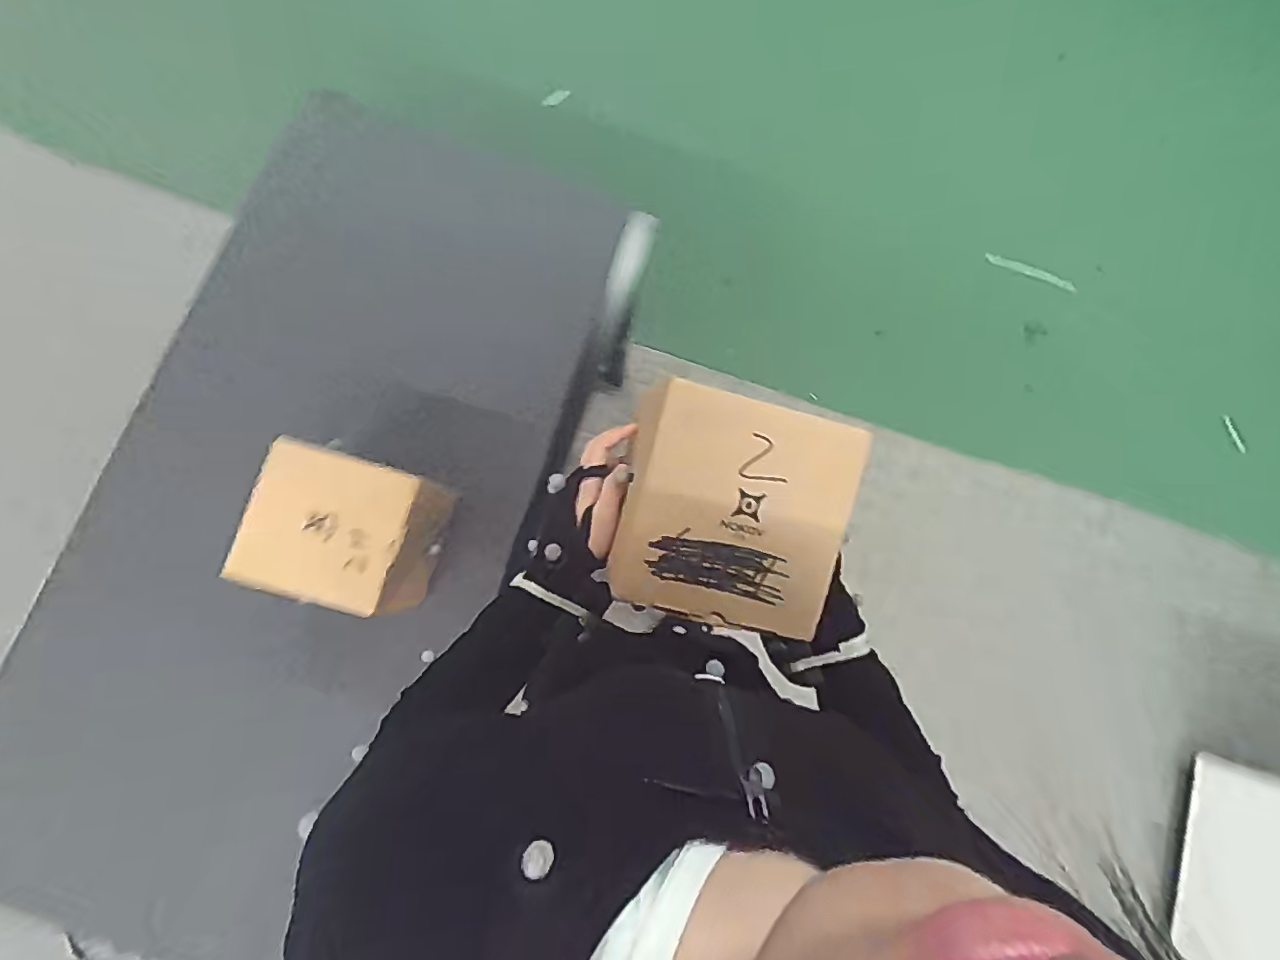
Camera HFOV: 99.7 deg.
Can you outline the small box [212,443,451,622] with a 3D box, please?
[{"bbox_3d":[-0.365,0.069,0.677,0.179,0.176,0.168,15,81,-1],"label":"small box"}]
